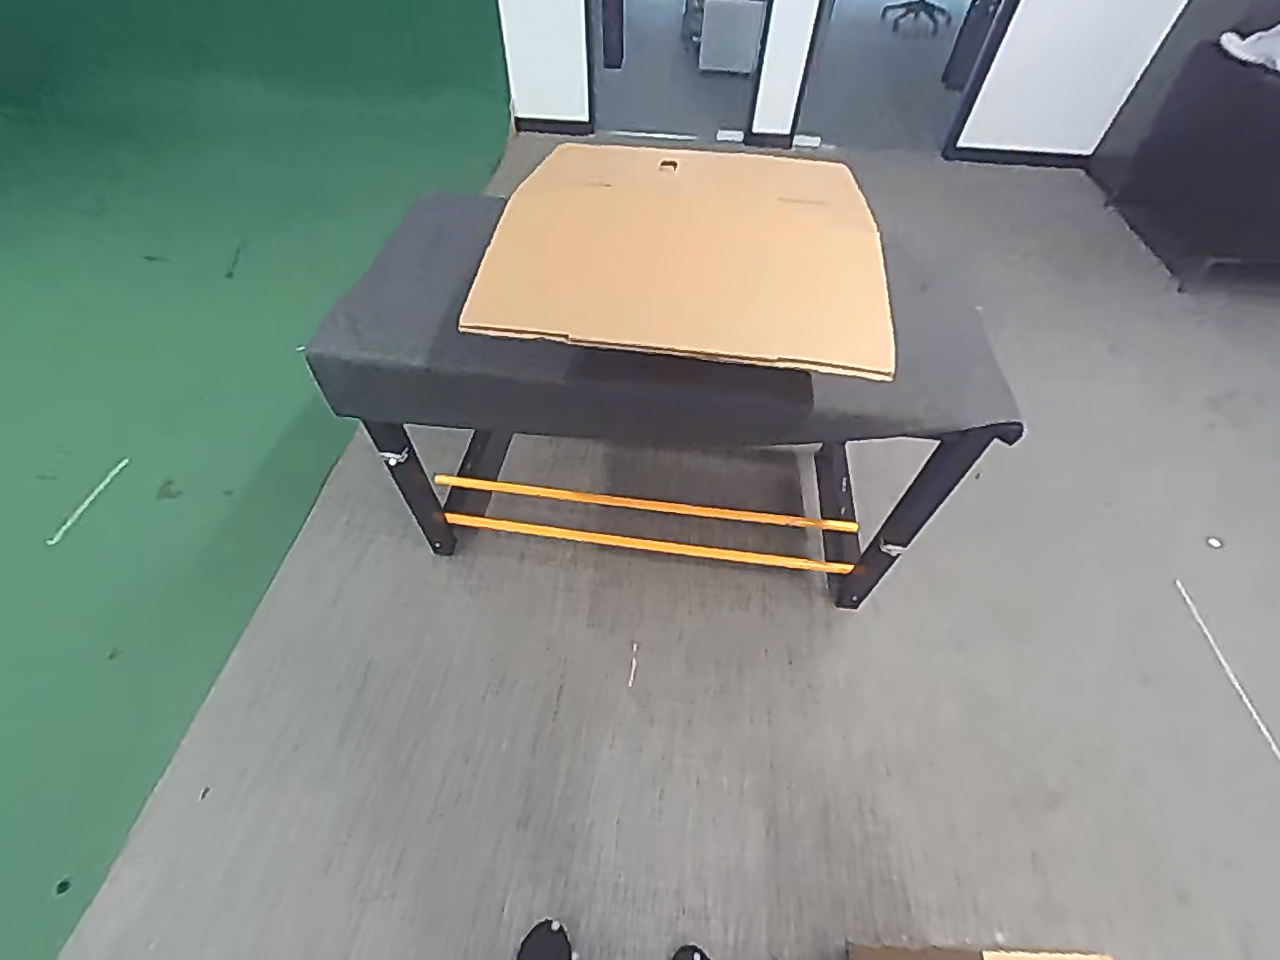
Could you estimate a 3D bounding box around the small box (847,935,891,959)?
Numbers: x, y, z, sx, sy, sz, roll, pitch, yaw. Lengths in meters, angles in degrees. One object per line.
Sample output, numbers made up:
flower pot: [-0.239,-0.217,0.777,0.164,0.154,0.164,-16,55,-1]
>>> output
small box: [0.476,0.903,0.932,0.168,0.176,0.179,2,52,-1]

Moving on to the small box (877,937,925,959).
small box: [0.488,0.796,0.809,0.179,0.176,0.168,1,51,0]

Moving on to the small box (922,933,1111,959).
small box: [0.491,0.692,0.681,0.168,0.176,0.179,2,51,-1]
